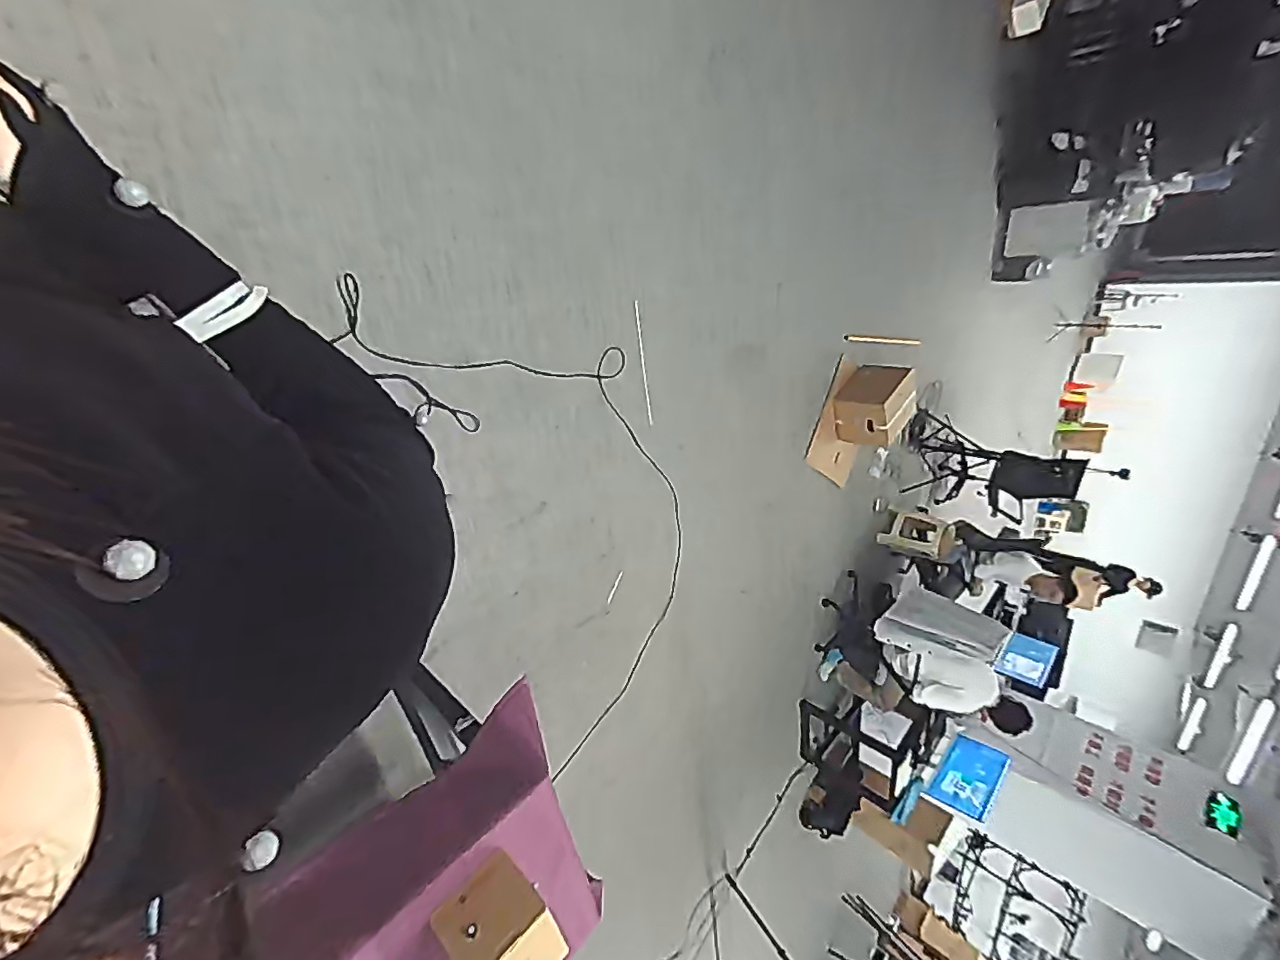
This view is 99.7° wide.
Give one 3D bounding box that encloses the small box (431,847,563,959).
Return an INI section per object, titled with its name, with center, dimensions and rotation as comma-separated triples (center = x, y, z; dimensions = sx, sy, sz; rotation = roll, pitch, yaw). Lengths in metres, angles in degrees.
[small box]
center = -0.280, 0.869, 1.057
dimensions = 0.168, 0.176, 0.179
rotation = -32, 125, -35
